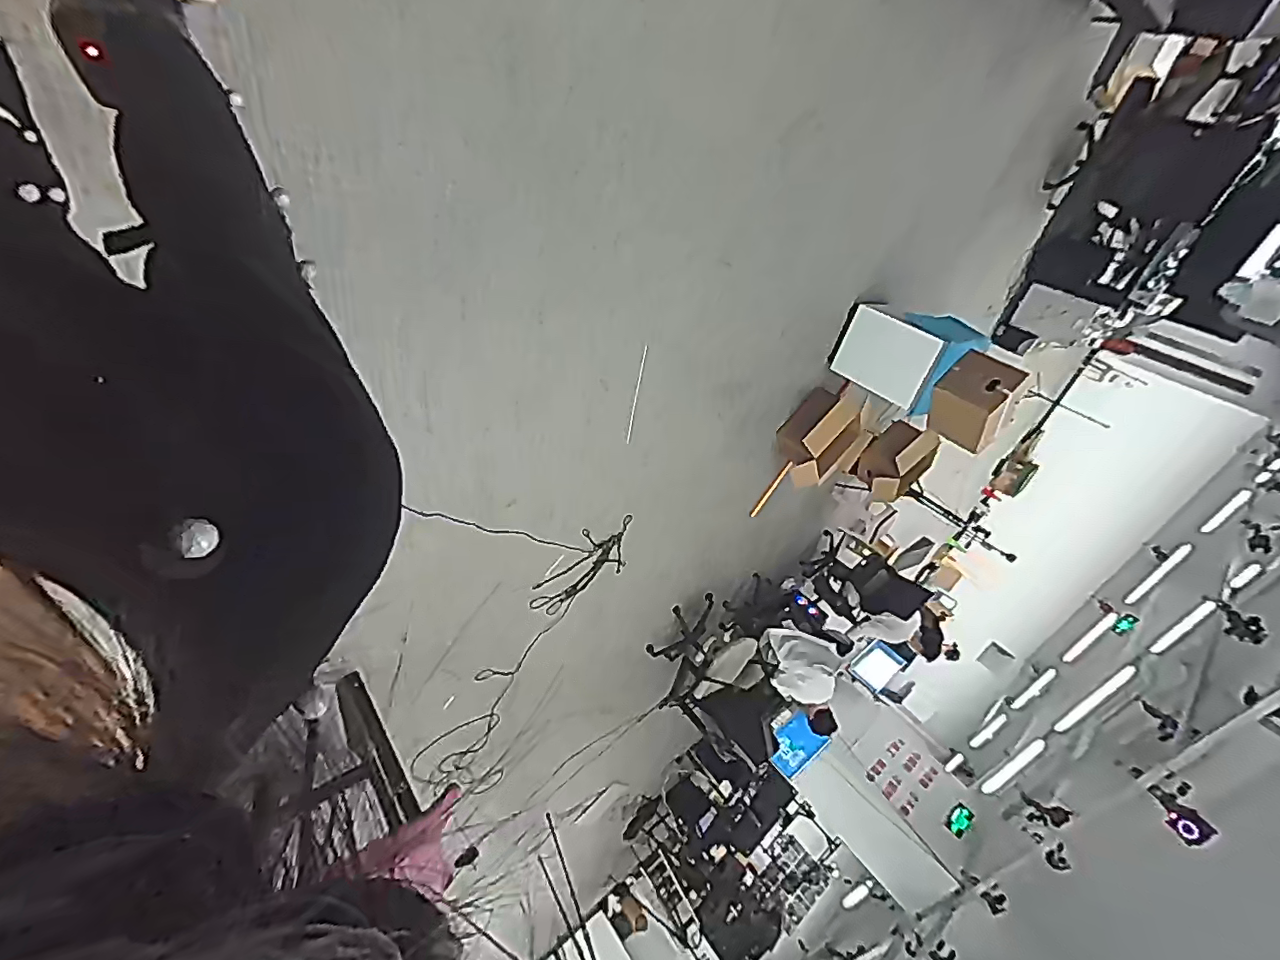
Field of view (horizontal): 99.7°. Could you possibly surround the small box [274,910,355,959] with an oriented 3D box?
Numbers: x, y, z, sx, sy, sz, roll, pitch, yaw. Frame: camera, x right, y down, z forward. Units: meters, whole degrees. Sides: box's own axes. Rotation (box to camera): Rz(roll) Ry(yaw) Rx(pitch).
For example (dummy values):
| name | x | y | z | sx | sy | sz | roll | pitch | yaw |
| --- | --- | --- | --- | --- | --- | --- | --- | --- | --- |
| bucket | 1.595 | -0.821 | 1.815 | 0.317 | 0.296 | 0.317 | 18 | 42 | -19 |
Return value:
| name | x | y | z | sx | sy | sz | roll | pitch | yaw |
| --- | --- | --- | --- | --- | --- | --- | --- | --- | --- |
| small box | -0.914 | 1.379 | 1.536 | 0.168 | 0.176 | 0.179 | -19 | 137 | -38 |
